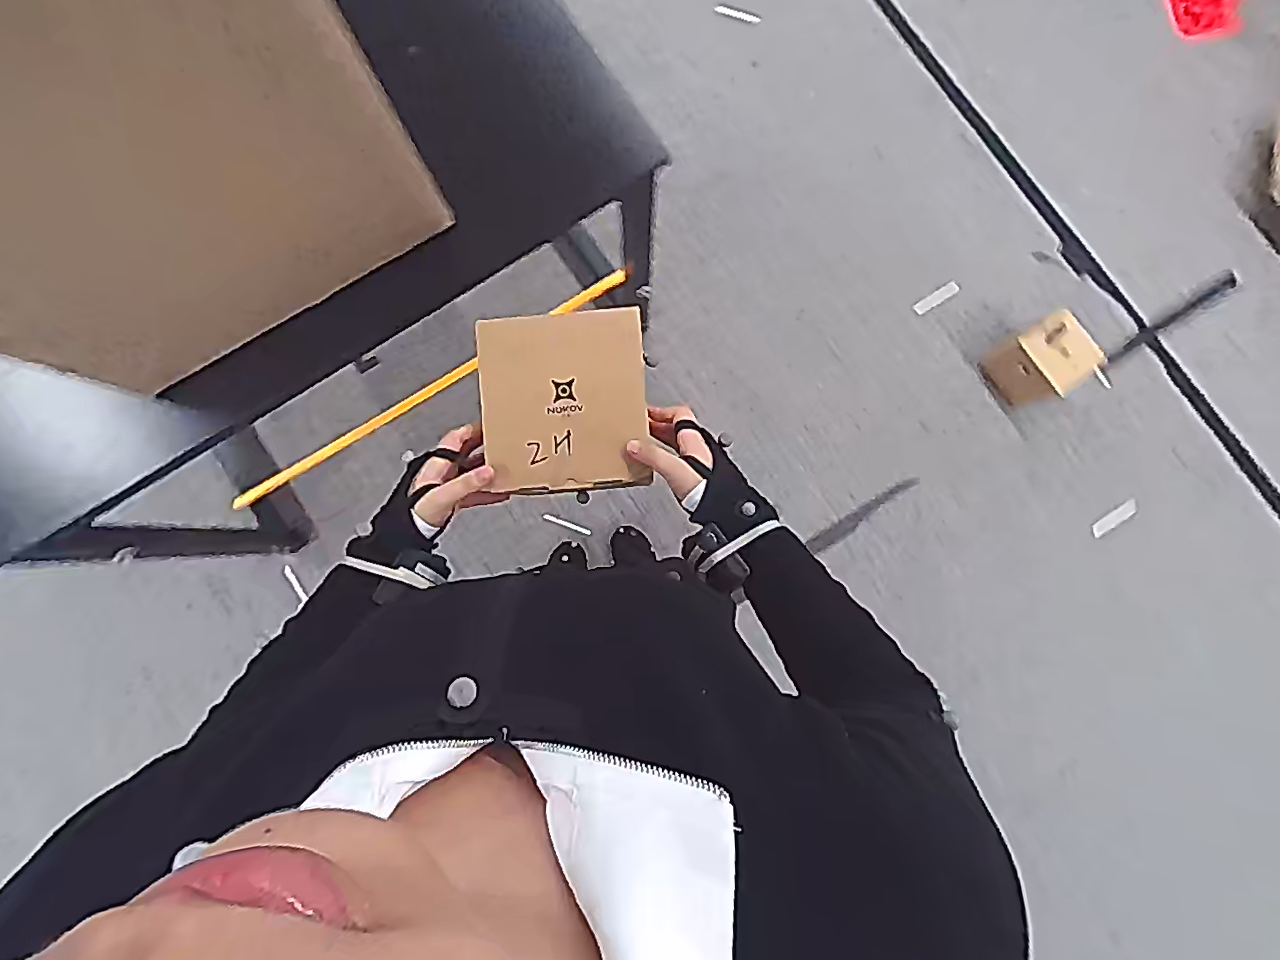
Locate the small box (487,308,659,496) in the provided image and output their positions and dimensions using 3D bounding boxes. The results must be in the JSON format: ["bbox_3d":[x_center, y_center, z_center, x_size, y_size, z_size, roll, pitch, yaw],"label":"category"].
[{"bbox_3d":[-0.066,-0.075,0.603,0.168,0.176,0.179,-3,87,1],"label":"small box"}]

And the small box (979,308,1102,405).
[{"bbox_3d":[1.092,-0.331,1.492,0.168,0.176,0.179,-36,86,-4],"label":"small box"}]
